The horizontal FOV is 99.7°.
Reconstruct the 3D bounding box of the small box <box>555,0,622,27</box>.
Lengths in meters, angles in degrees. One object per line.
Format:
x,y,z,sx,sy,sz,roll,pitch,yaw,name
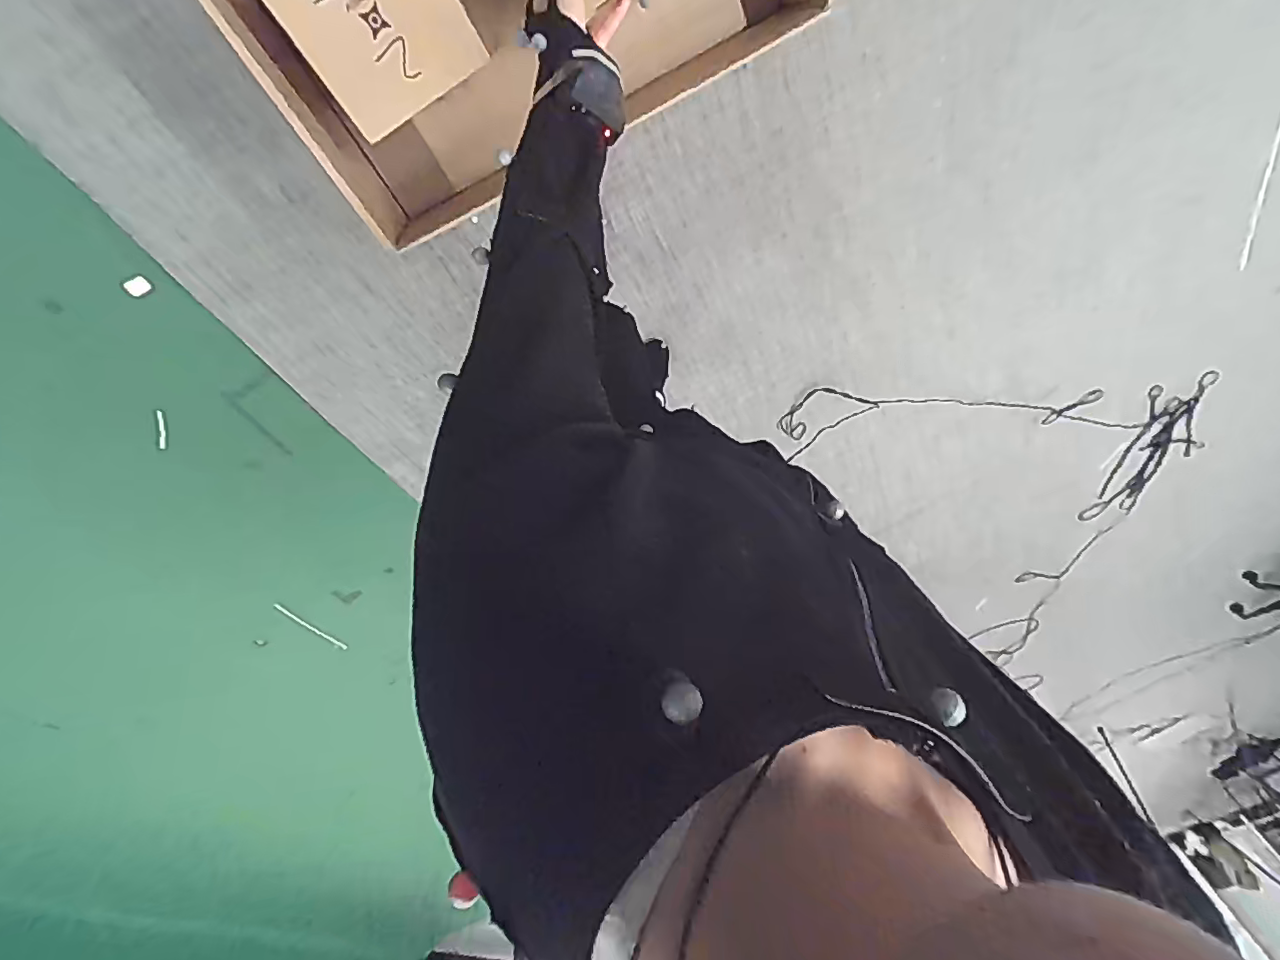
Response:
-0.040,-0.569,0.506,0.168,0.176,0.179,-25,124,15,small box
